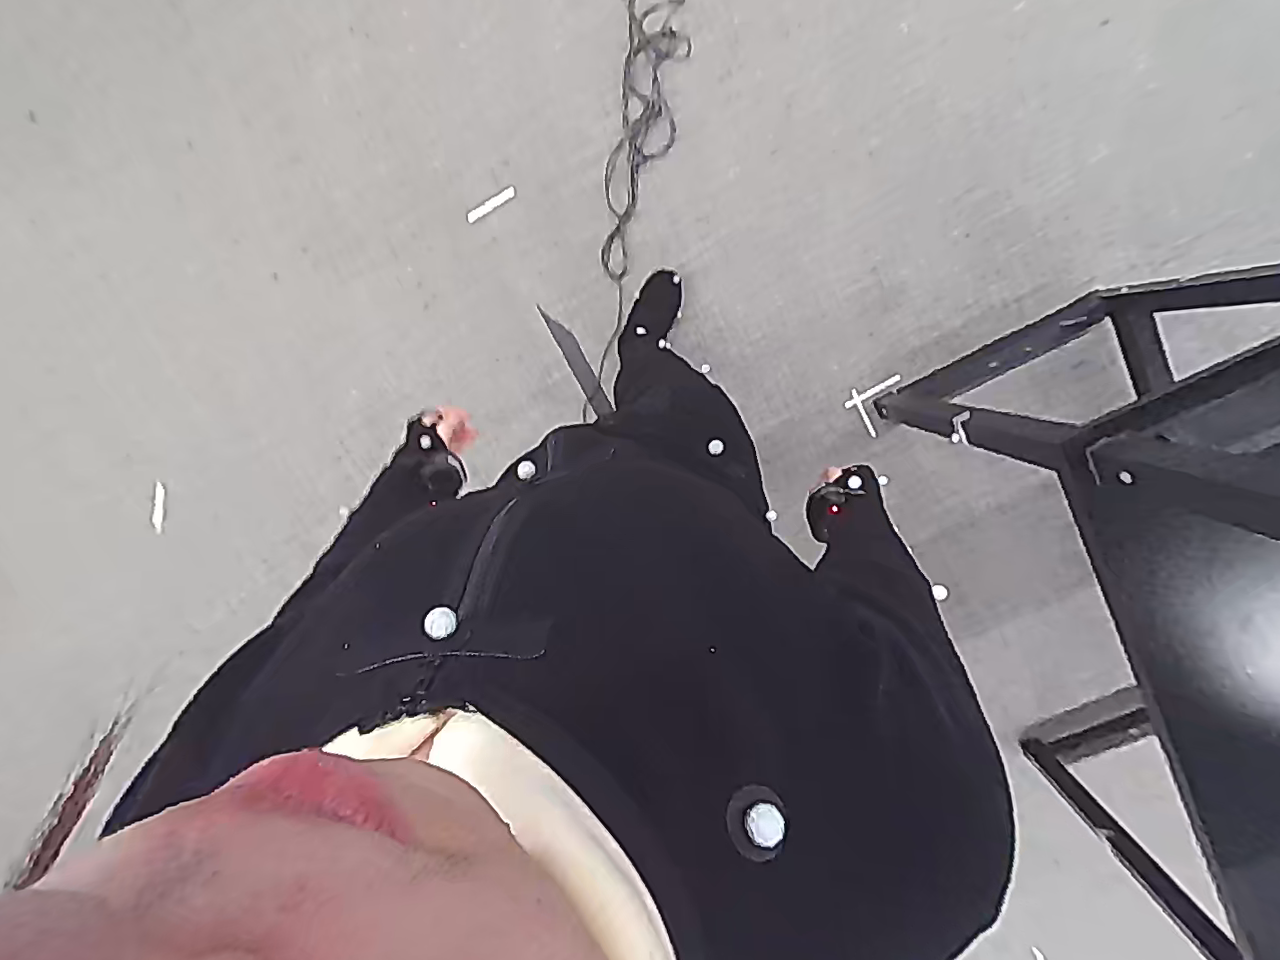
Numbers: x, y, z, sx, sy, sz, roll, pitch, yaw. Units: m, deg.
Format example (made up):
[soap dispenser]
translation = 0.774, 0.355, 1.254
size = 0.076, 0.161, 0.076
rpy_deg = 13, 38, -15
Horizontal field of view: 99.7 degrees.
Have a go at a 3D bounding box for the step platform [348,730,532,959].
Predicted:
[step platform]
translation = -0.605, 1.144, 1.684
size = 0.286, 0.204, 0.684
rpy_deg = -21, 102, 8
